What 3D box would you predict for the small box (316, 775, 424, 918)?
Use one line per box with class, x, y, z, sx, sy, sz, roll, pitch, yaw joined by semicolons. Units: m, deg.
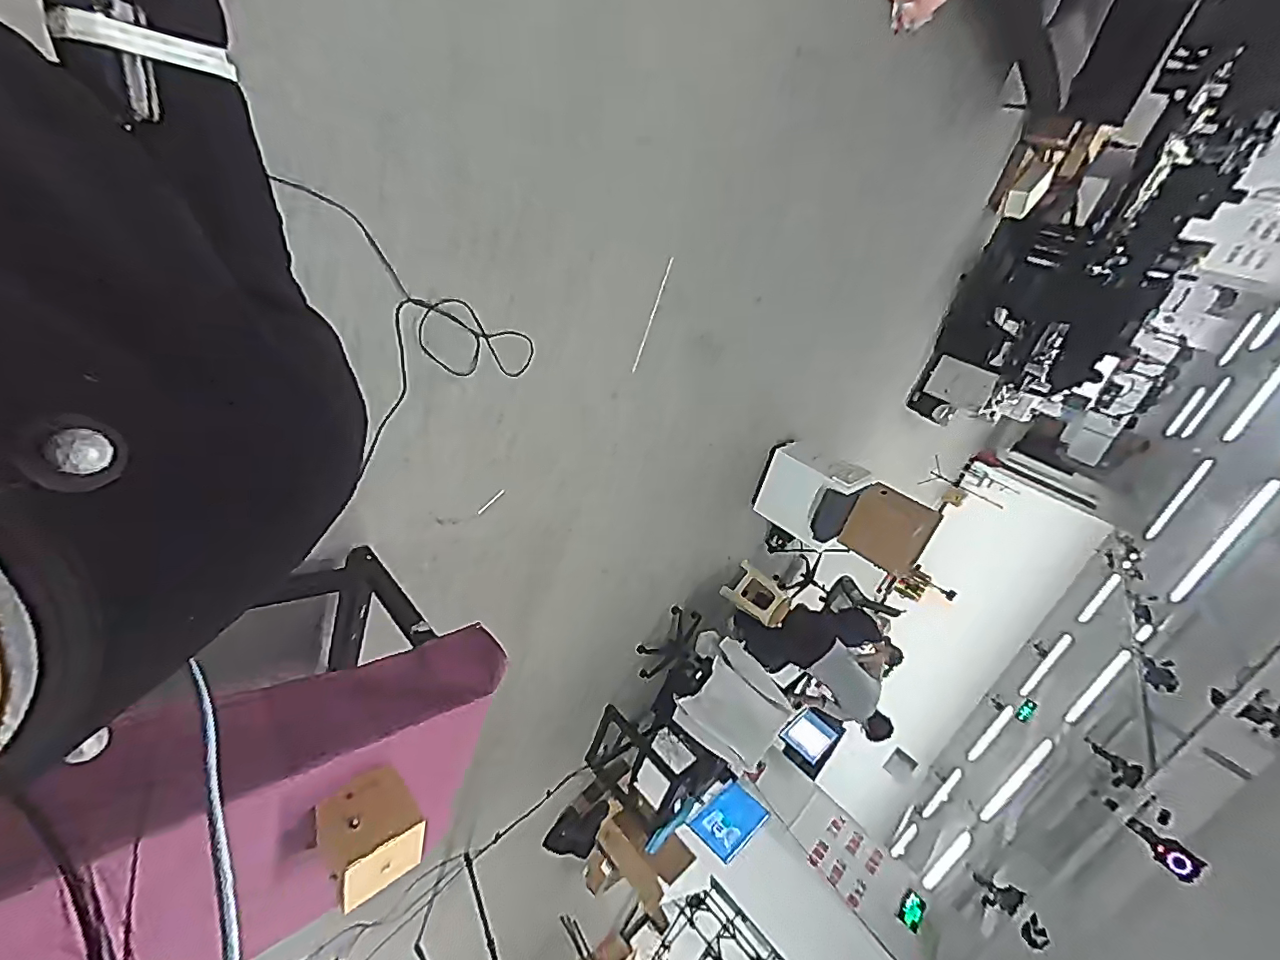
small box;-0.597;0.788;1.188;0.168;0.176;0.179;-12;129;-45
